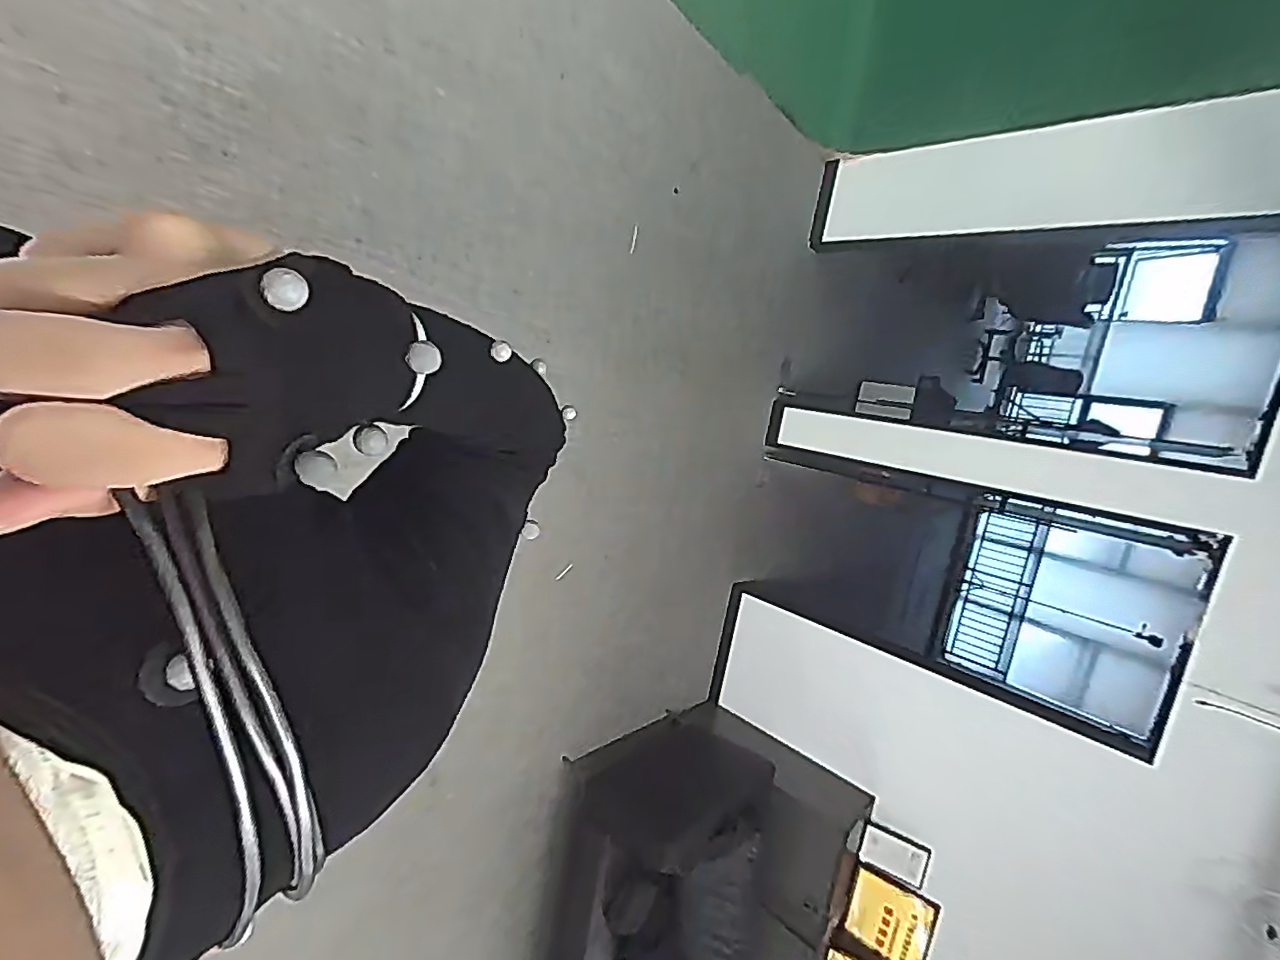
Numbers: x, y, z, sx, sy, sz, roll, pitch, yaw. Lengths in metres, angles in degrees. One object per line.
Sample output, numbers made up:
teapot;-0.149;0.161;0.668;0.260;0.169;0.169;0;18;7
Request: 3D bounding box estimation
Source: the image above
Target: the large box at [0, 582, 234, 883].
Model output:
large box;-1.043;0.442;1.040;0.320;0.320;0.408;11;96;-50
